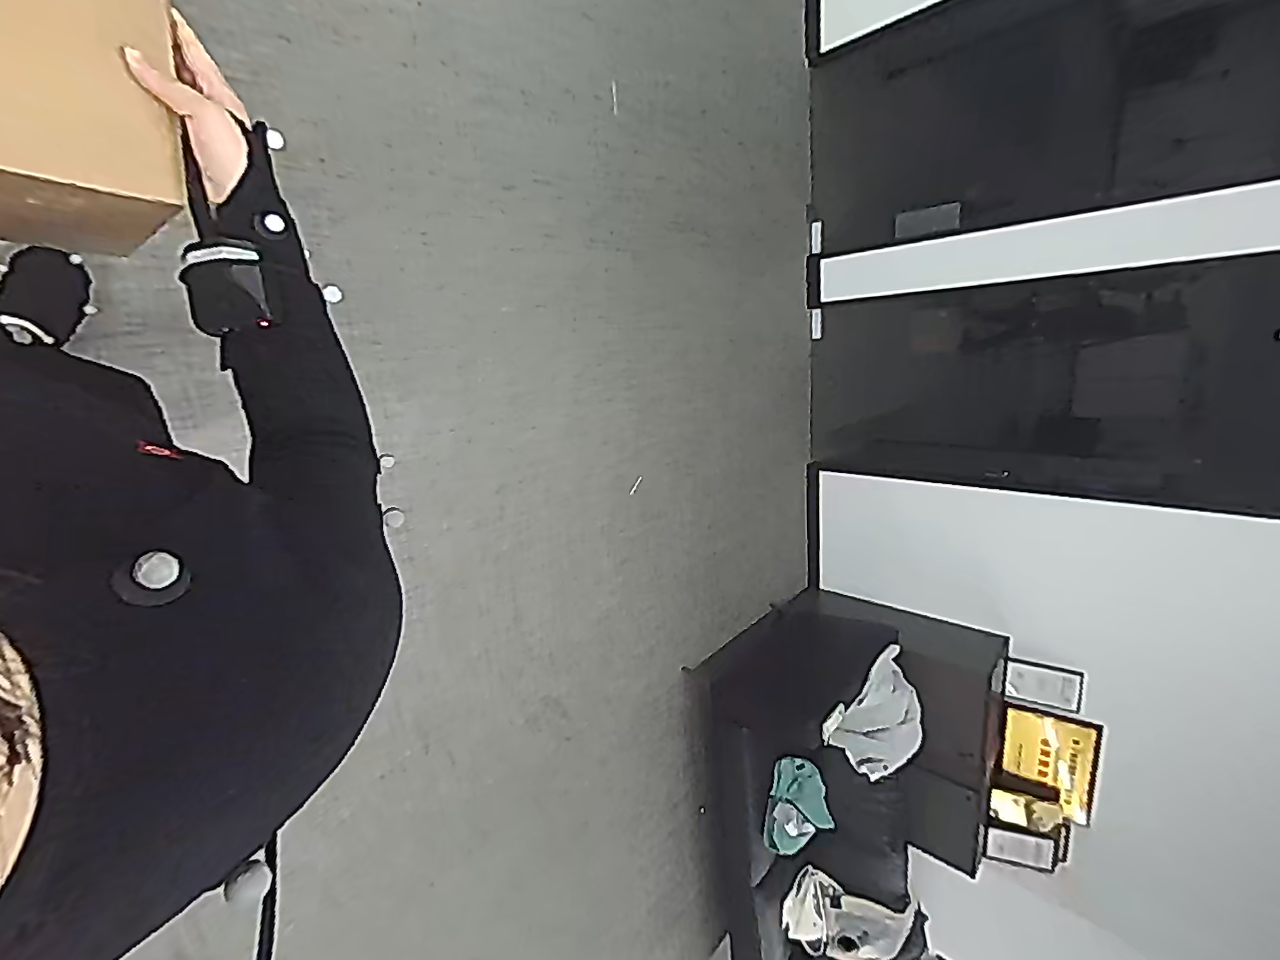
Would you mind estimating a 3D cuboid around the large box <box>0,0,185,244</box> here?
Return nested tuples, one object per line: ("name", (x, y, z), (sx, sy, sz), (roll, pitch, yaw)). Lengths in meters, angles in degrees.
("large box", (-0.603, -0.370, 0.346), (0.408, 0.320, 0.320), (-11, 107, -50))
